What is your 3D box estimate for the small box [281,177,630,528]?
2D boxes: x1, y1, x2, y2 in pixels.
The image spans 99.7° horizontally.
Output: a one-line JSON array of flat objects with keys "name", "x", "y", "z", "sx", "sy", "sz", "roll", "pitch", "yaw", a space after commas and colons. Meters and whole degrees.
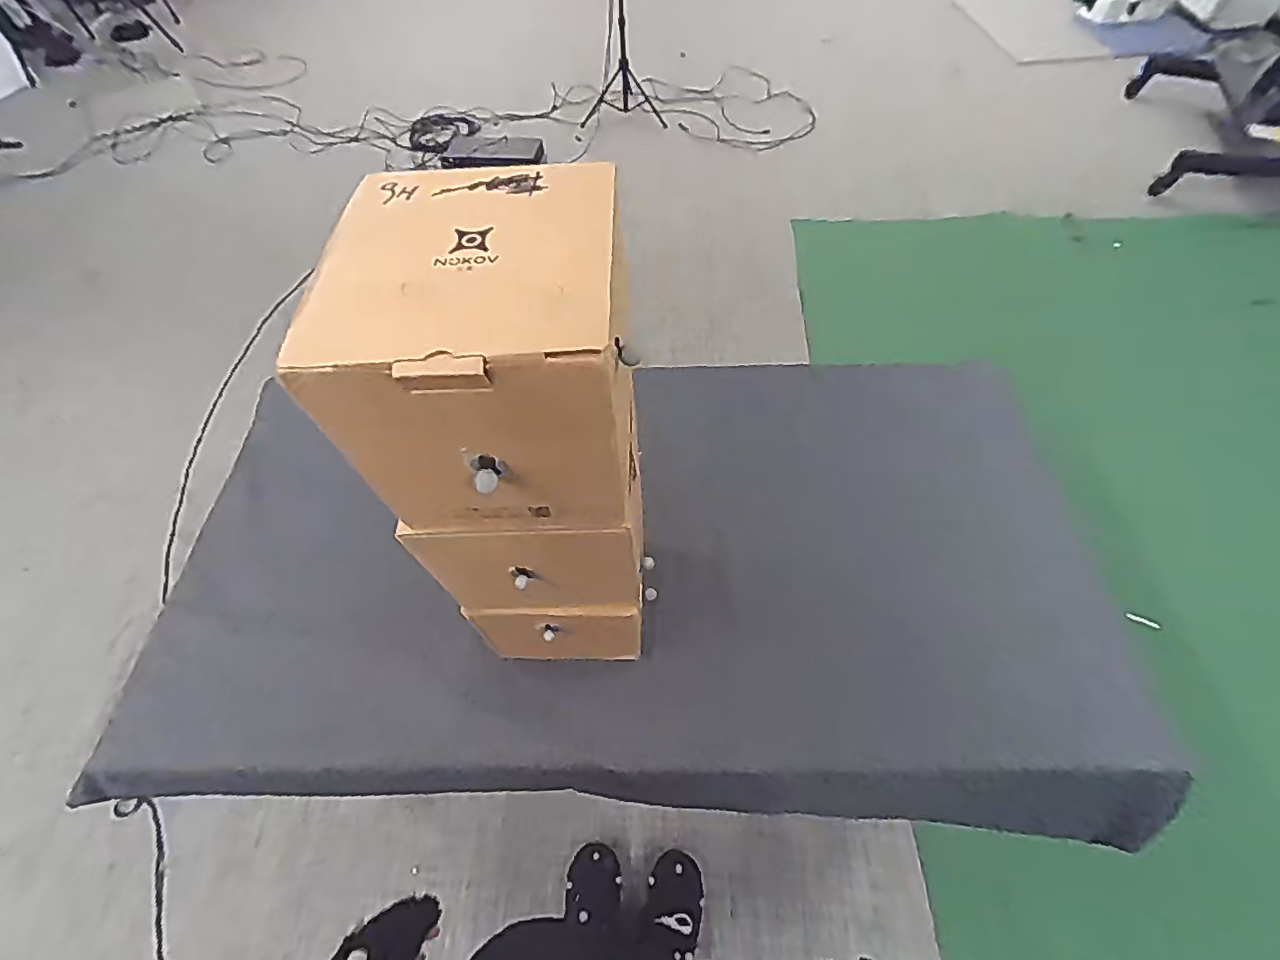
[{"name": "small box", "x": -0.093, "y": -0.075, "z": 0.373, "sx": 0.168, "sy": 0.176, "sz": 0.179, "roll": -1, "pitch": 59, "yaw": 2}]

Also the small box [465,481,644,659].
[{"name": "small box", "x": -0.085, "y": 0.111, "z": 0.643, "sx": 0.179, "sy": 0.176, "sz": 0.168, "roll": 0, "pitch": 58, "yaw": 1}]

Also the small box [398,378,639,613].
[{"name": "small box", "x": -0.090, "y": 0.020, "z": 0.506, "sx": 0.179, "sy": 0.176, "sz": 0.168, "roll": -2, "pitch": 58, "yaw": 2}]
